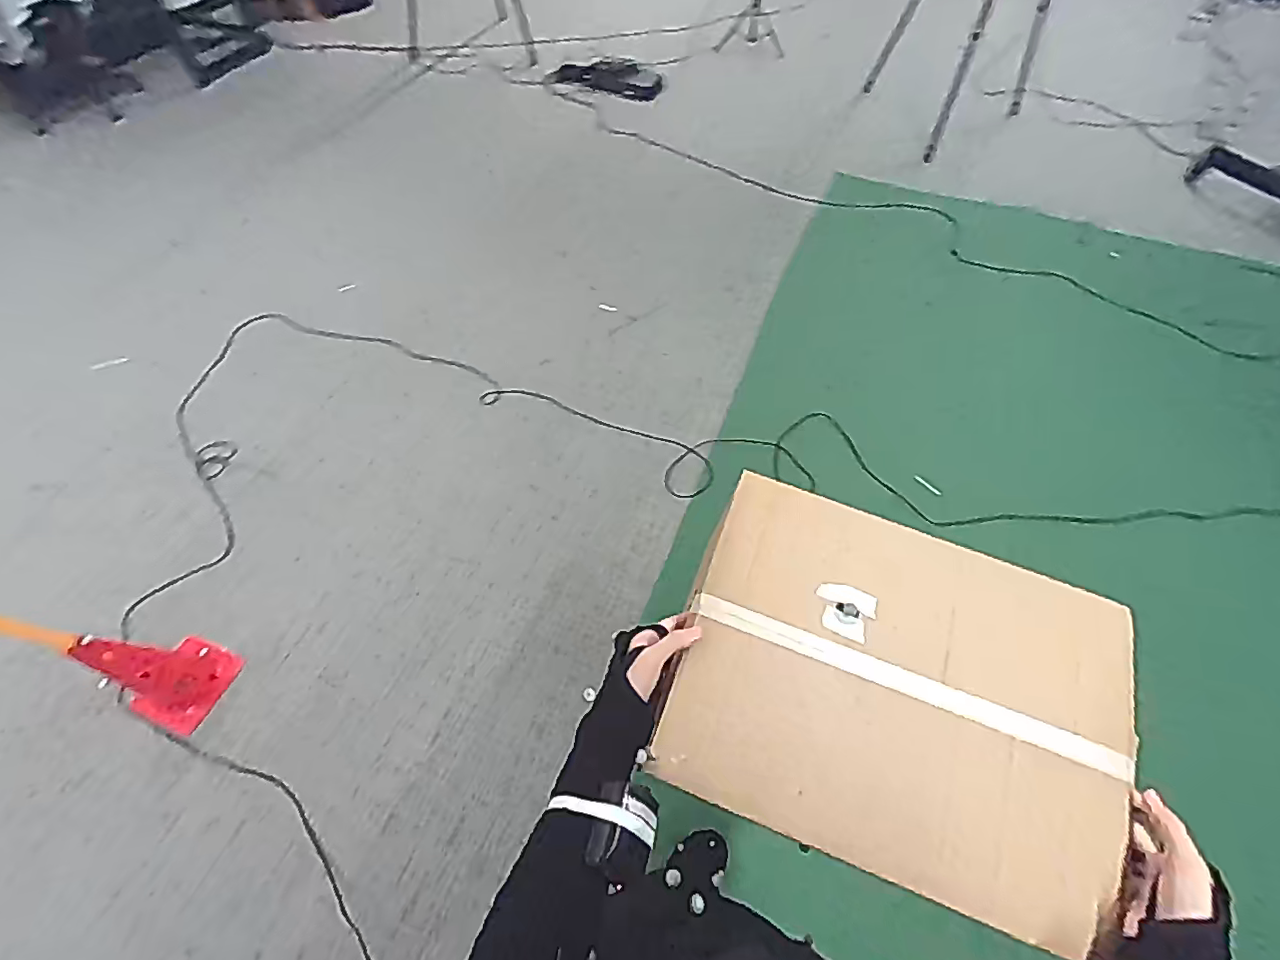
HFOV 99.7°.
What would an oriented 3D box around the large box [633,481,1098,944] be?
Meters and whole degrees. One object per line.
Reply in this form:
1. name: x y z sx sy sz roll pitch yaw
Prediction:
1. large box: 0.231 0.249 0.659 0.408 0.320 0.320 19 68 7
